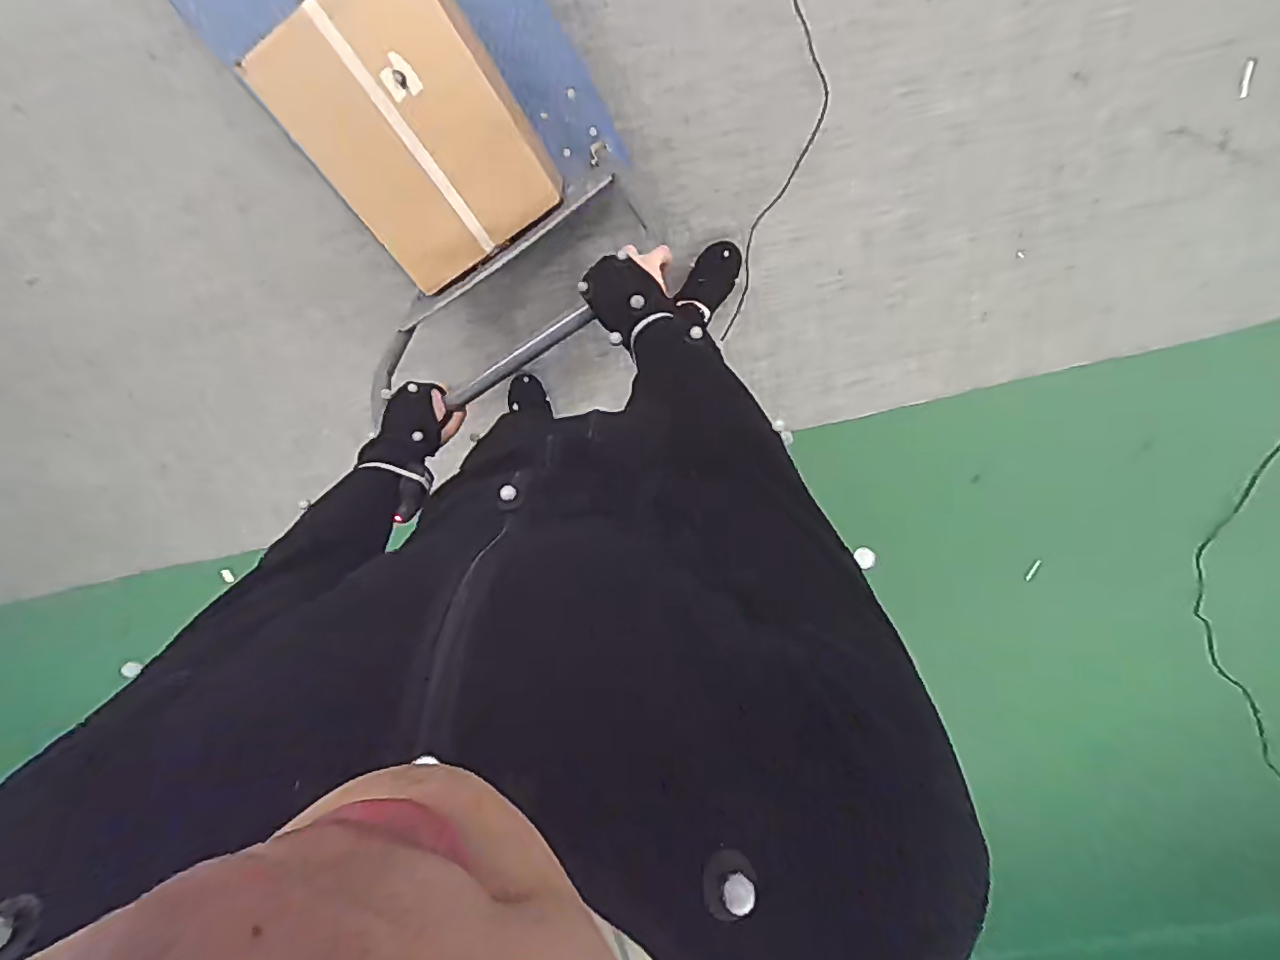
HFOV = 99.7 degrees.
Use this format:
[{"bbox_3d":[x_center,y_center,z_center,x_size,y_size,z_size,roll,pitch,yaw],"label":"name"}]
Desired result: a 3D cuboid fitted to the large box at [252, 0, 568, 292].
[{"bbox_3d":[-0.379,-0.641,1.019,0.320,0.320,0.408,-30,121,12],"label":"large box"}]
